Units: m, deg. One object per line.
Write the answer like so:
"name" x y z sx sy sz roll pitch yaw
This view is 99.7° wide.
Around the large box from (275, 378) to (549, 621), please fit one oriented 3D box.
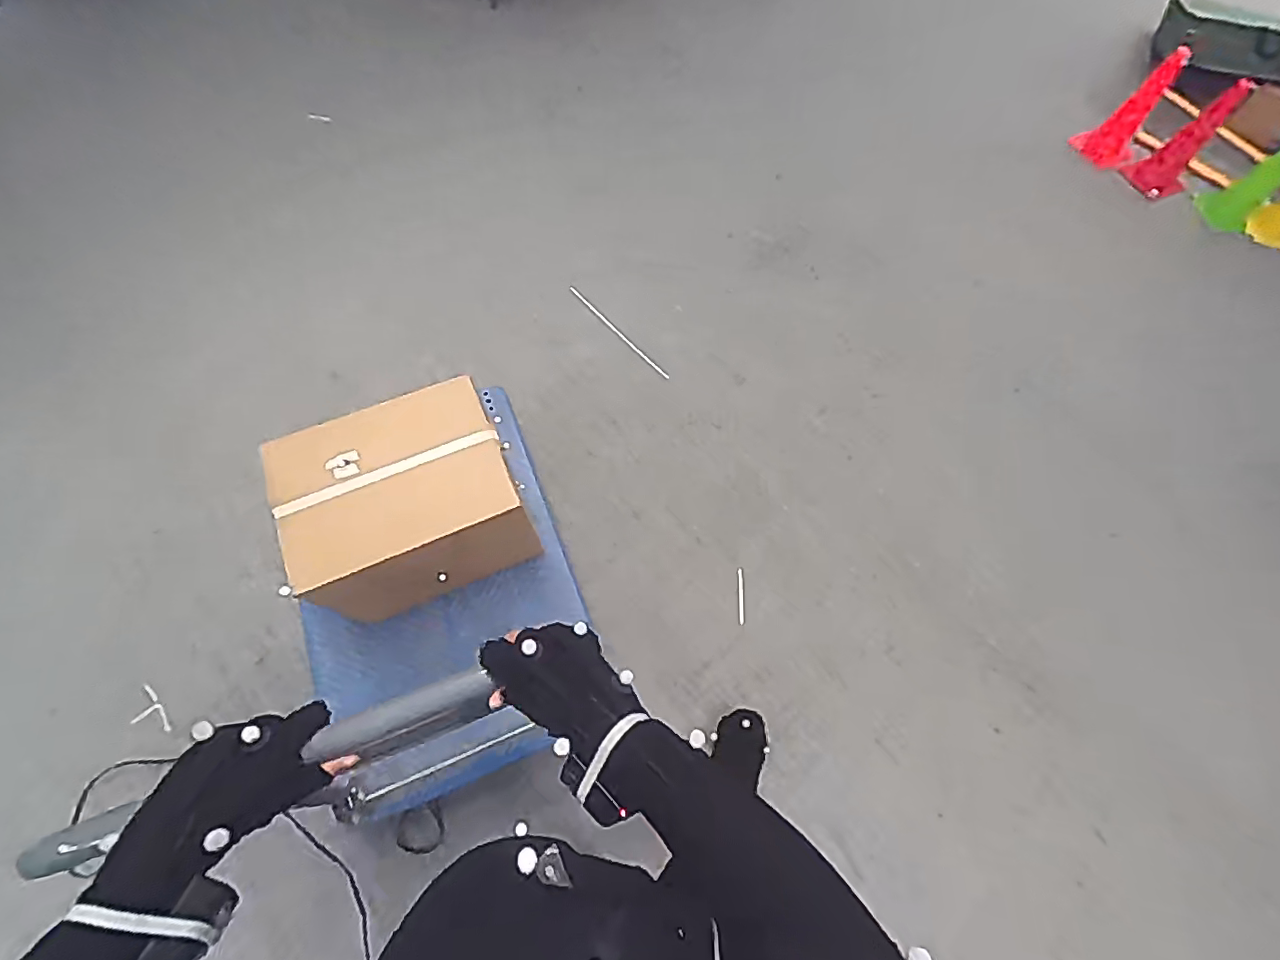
"large box" -0.448 0.053 1.137 0.408 0.320 0.320 -23 68 -11
